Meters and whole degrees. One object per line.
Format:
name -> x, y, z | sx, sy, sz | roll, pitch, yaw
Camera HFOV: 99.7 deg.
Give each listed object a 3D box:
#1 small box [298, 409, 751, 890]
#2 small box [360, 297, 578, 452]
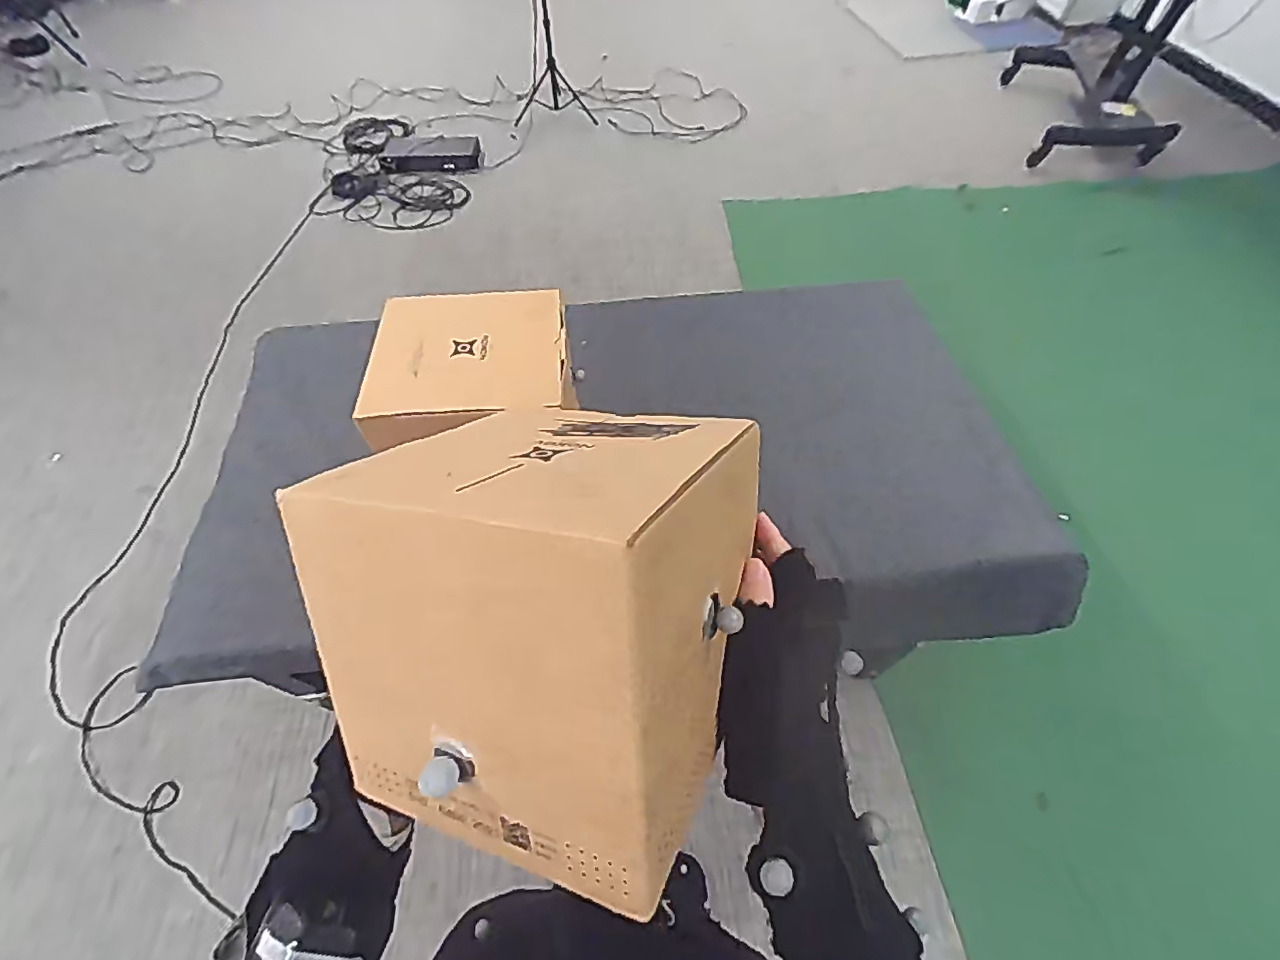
small box -> -0.042, 0.064, 0.302 | 0.168, 0.176, 0.179 | 6, 21, 24
small box -> -0.157, -0.069, 0.572 | 0.179, 0.176, 0.168 | -5, 53, -2
